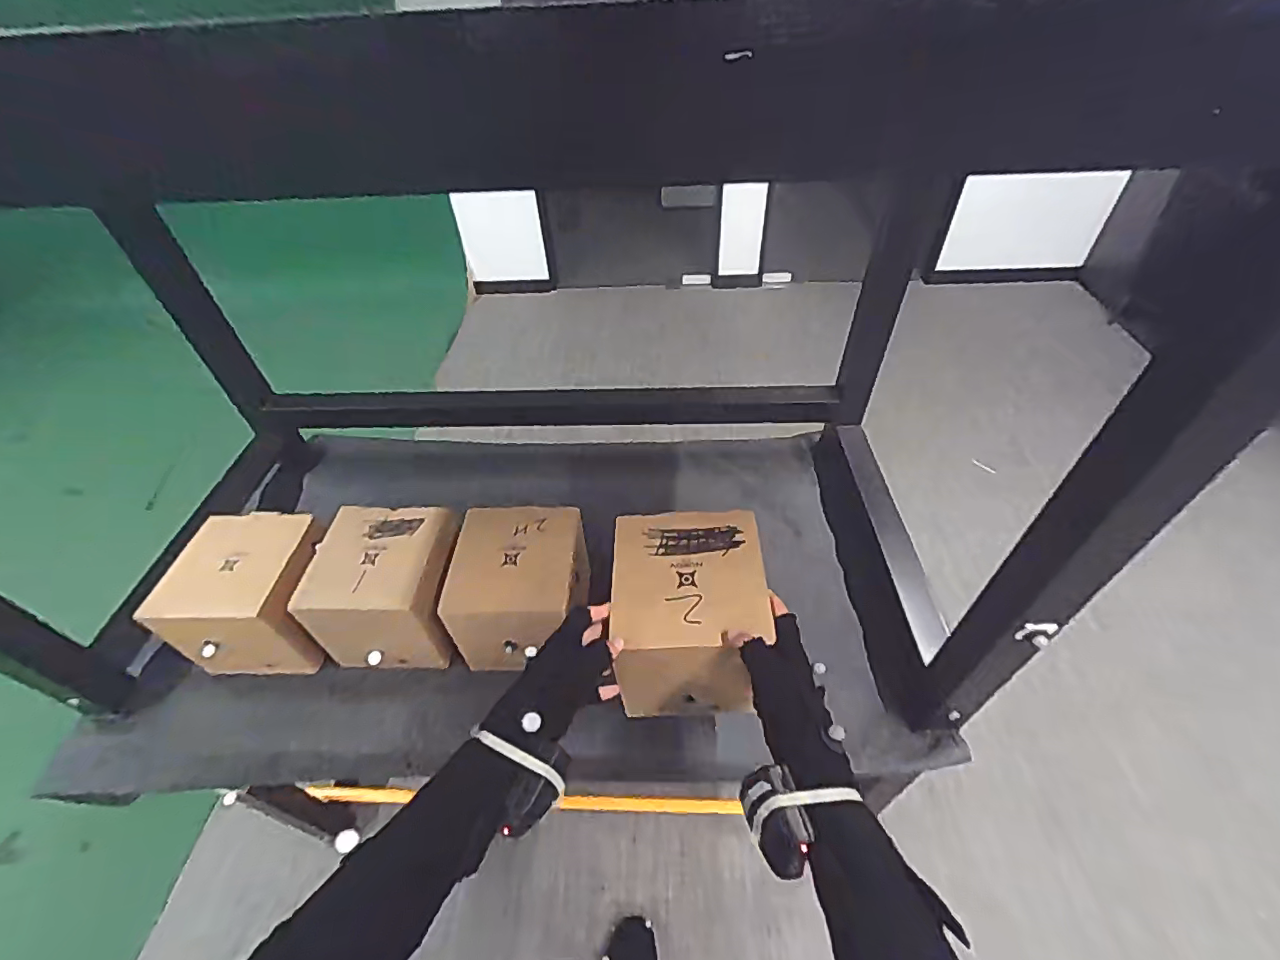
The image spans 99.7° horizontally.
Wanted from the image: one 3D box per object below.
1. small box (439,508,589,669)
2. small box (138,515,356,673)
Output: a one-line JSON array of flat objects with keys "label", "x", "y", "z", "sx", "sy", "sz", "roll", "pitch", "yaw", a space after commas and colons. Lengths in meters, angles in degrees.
[{"label": "small box", "x": -0.167, "y": 0.160, "z": 0.788, "sx": 0.168, "sy": 0.176, "sz": 0.179, "roll": 1, "pitch": 45, "yaw": 1}, {"label": "small box", "x": -0.557, "y": 0.171, "z": 0.802, "sx": 0.168, "sy": 0.176, "sz": 0.179, "roll": -1, "pitch": 45, "yaw": 2}]
